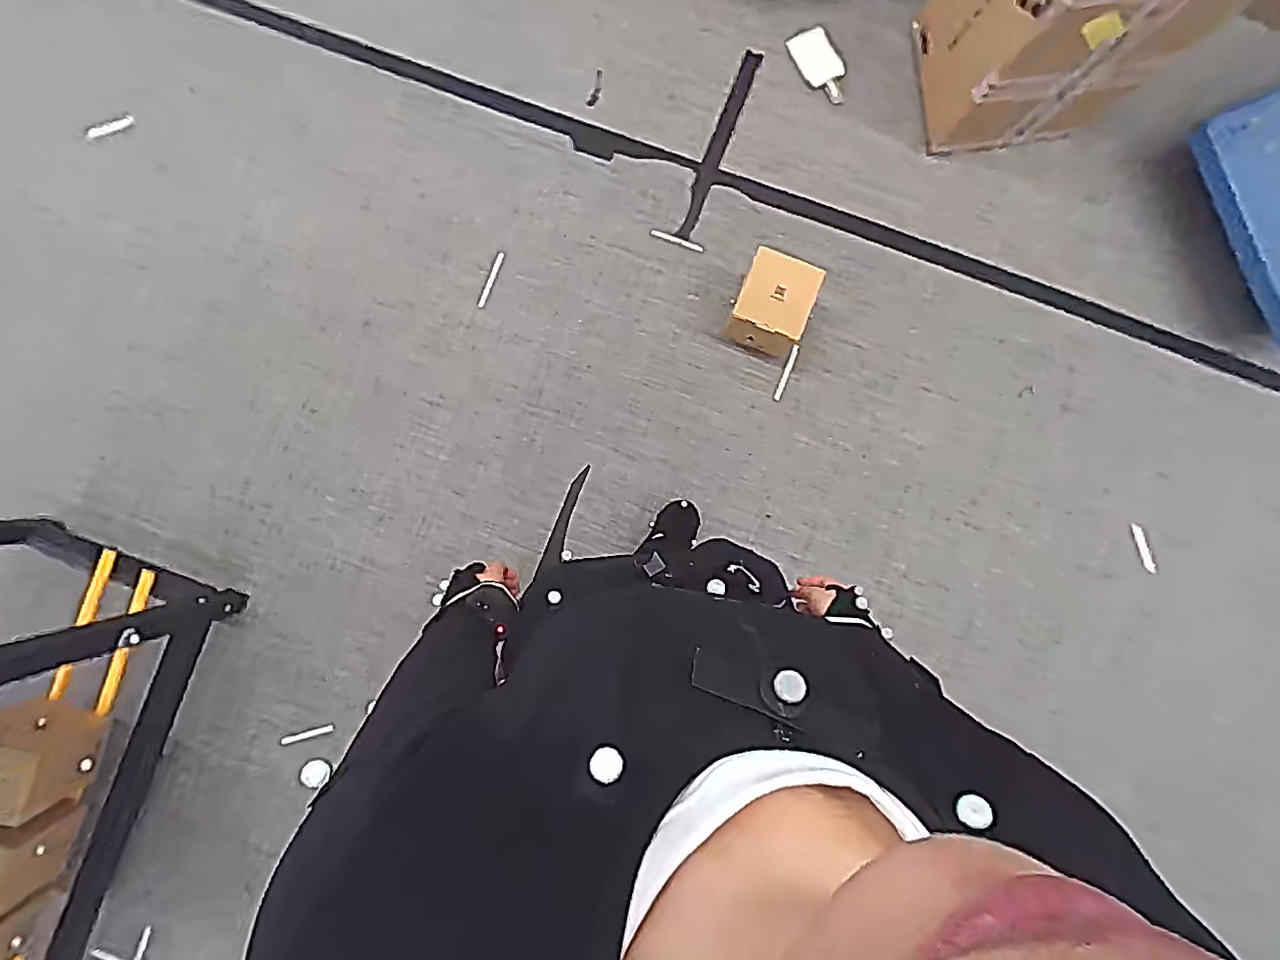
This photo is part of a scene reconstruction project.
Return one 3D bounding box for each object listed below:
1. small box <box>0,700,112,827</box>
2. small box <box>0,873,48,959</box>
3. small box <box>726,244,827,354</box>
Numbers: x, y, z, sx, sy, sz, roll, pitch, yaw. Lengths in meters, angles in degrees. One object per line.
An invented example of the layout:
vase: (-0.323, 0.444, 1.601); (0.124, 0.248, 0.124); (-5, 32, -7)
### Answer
small box: (-1.354, 0.616, 1.199); (0.179, 0.176, 0.168); (19, 91, -3)
small box: (-1.505, 1.014, 1.196); (0.179, 0.176, 0.168); (21, 89, -2)
small box: (0.320, -0.428, 1.308); (0.168, 0.176, 0.179); (21, 90, 0)
